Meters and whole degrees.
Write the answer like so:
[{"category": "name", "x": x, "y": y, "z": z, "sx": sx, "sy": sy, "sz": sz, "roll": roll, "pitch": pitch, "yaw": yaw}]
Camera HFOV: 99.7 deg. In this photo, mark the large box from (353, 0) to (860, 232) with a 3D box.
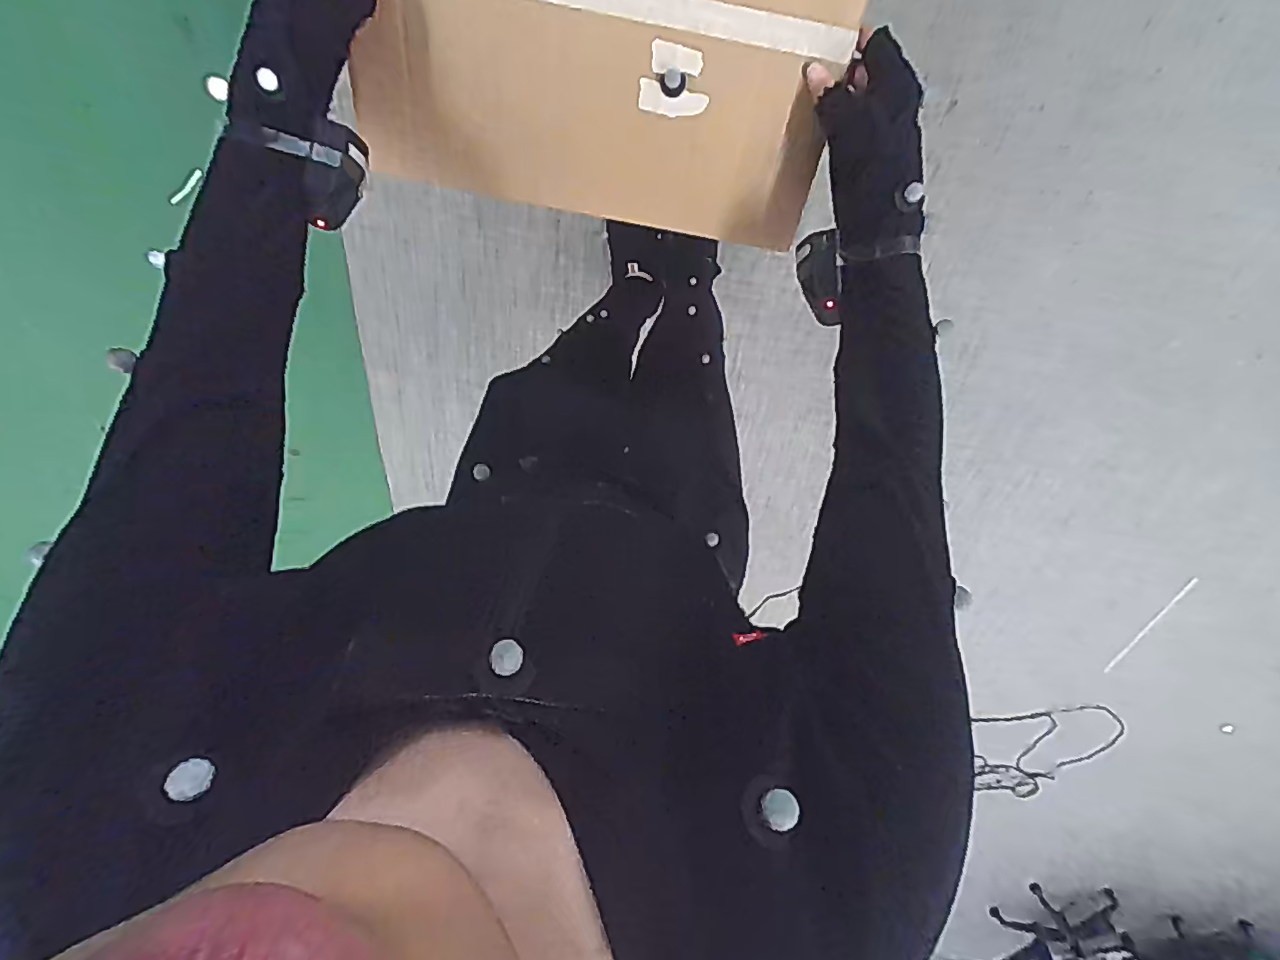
[{"category": "large box", "x": -0.025, "y": -0.473, "z": 0.541, "sx": 0.408, "sy": 0.320, "sz": 0.320, "roll": 8, "pitch": 126, "yaw": -5}]
